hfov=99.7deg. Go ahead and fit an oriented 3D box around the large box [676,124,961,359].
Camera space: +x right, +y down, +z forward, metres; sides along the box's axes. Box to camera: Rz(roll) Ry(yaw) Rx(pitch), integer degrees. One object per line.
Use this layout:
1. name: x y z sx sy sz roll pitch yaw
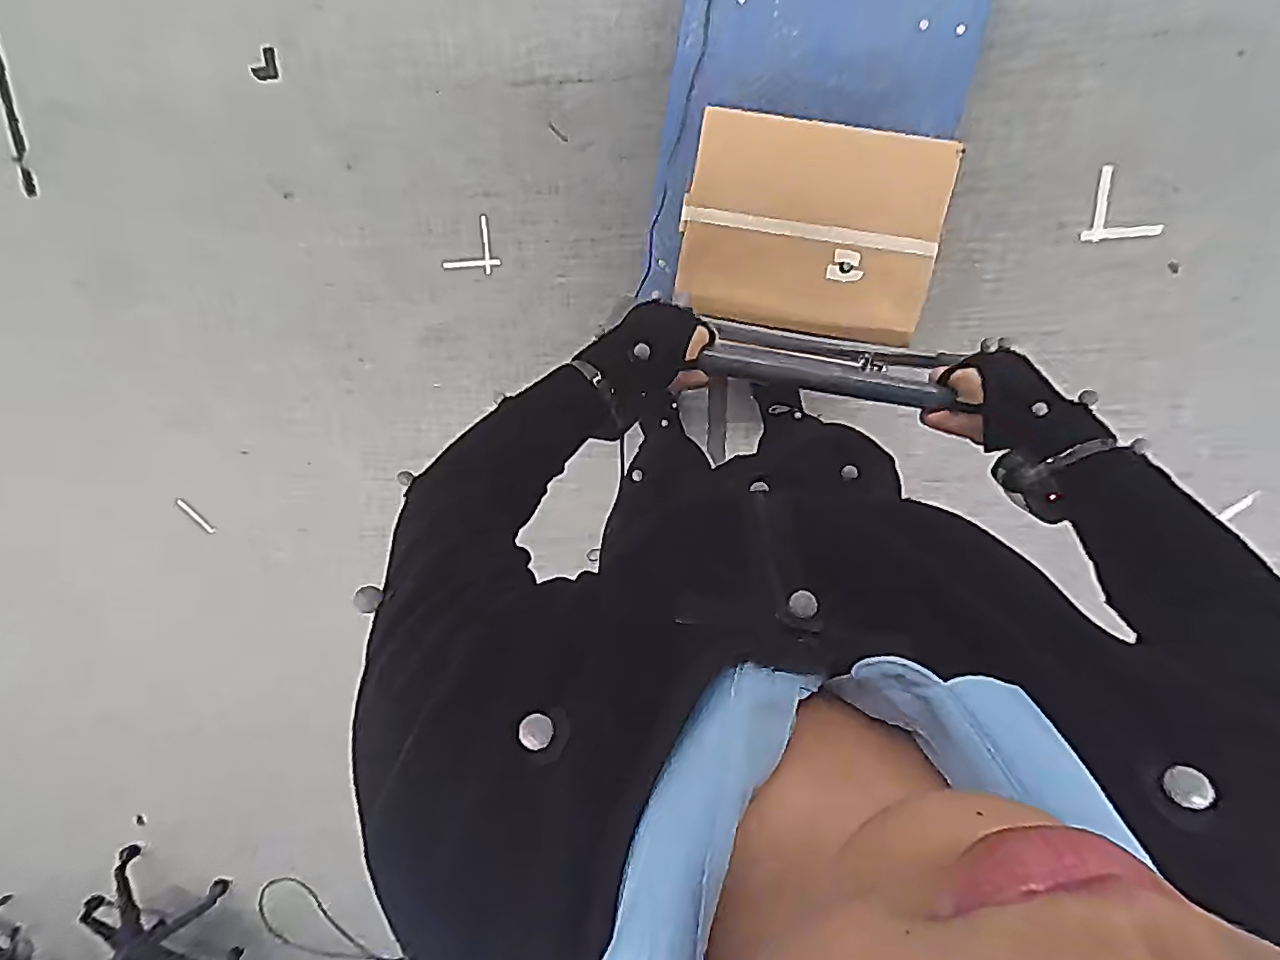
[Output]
1. large box: 0.286 -0.412 1.013 0.408 0.320 0.320 10 105 2
